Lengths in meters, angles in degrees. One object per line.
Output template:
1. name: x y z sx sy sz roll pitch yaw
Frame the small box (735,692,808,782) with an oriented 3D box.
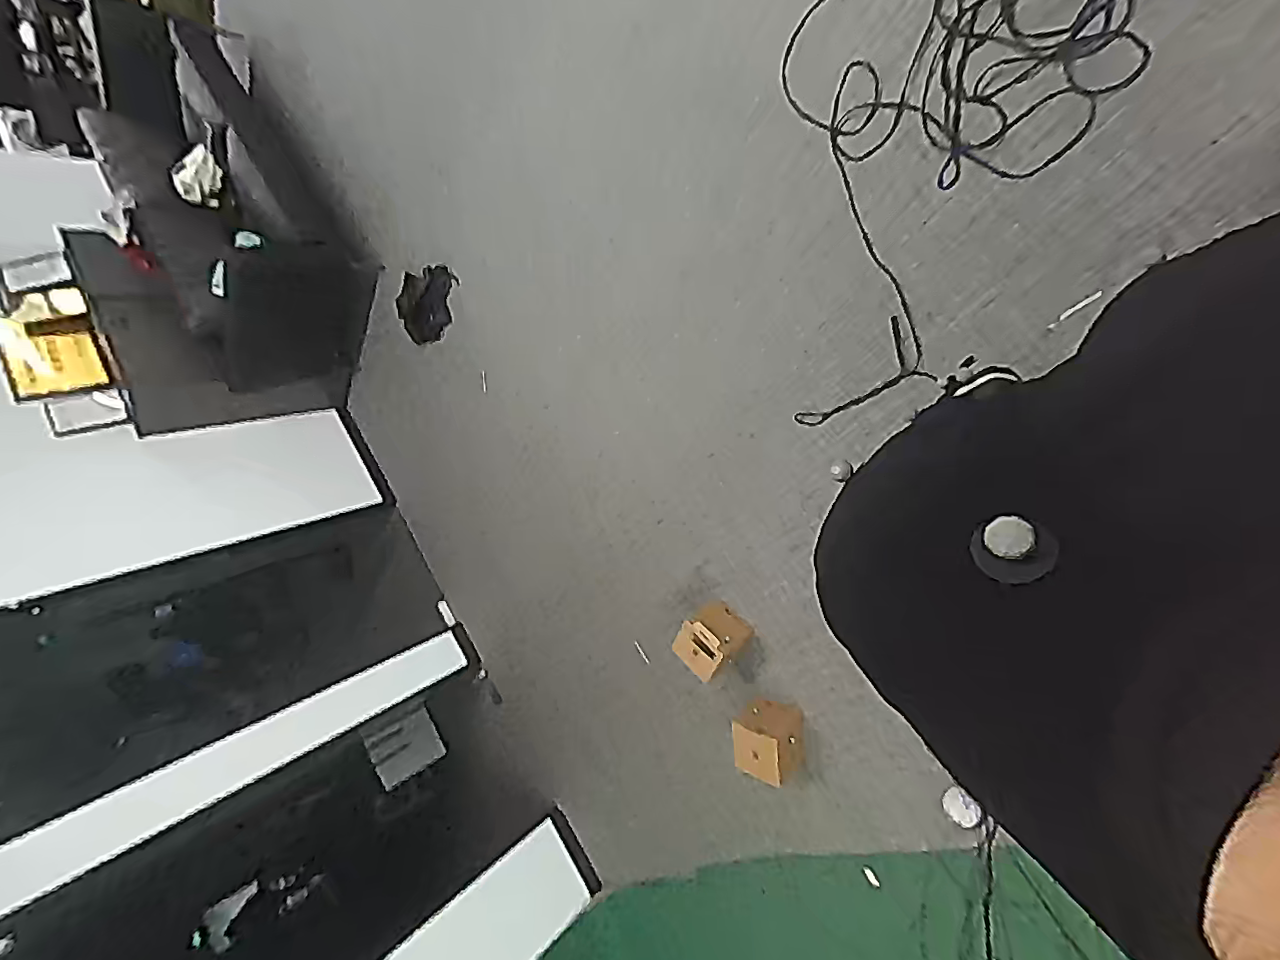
1. small box: 0.428 0.818 1.746 0.168 0.176 0.179 4 109 45
